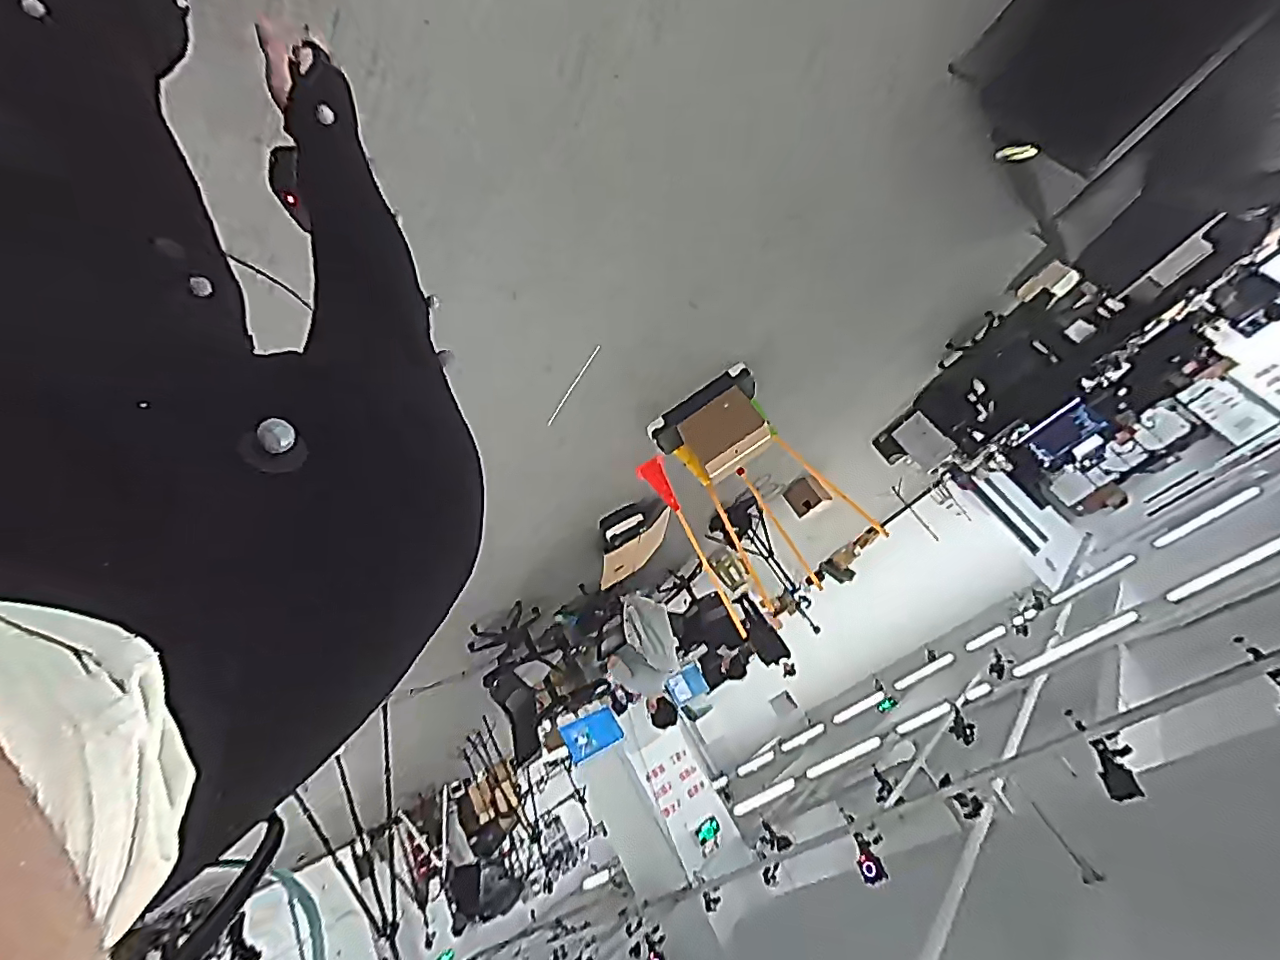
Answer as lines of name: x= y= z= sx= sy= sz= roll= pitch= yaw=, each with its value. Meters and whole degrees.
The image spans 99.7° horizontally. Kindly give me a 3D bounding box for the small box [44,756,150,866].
small box: x=-1.465 y=0.882 z=1.456 sx=0.168 sy=0.176 sz=0.179 roll=-45 pitch=153 yaw=25
